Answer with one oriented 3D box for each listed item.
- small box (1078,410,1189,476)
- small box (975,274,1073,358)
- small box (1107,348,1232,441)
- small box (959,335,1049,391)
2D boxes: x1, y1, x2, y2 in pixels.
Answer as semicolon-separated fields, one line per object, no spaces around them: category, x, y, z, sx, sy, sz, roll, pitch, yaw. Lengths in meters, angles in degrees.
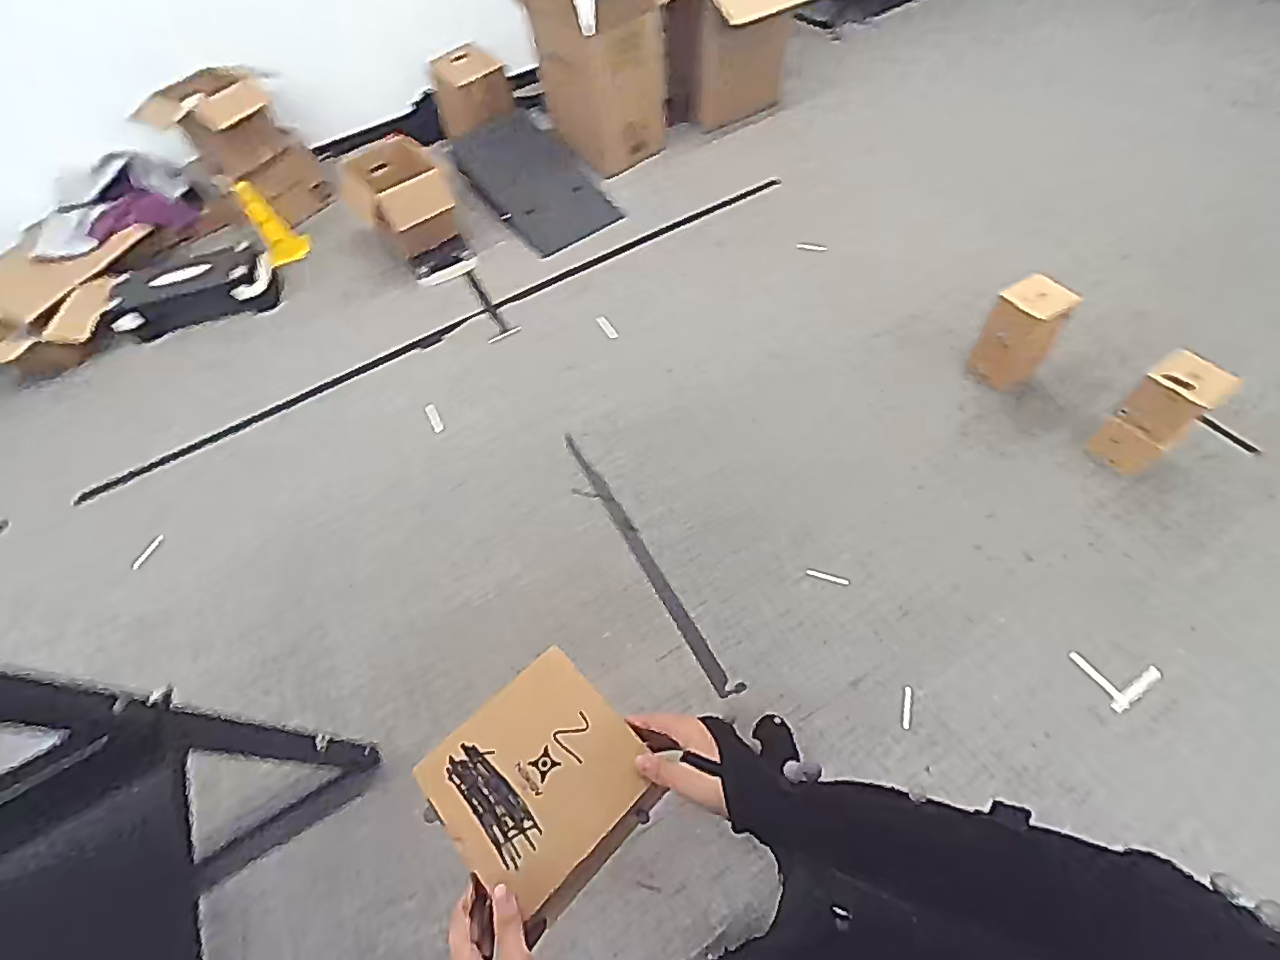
small box;1.542;-0.144;1.706;0.179;0.176;0.168;-31;59;-14
small box;1.265;-0.543;1.797;0.179;0.176;0.168;-28;57;-10
small box;1.526;-0.243;1.576;0.179;0.176;0.168;-30;59;-14
small box;1.289;-0.451;1.931;0.179;0.176;0.168;-27;58;-10
